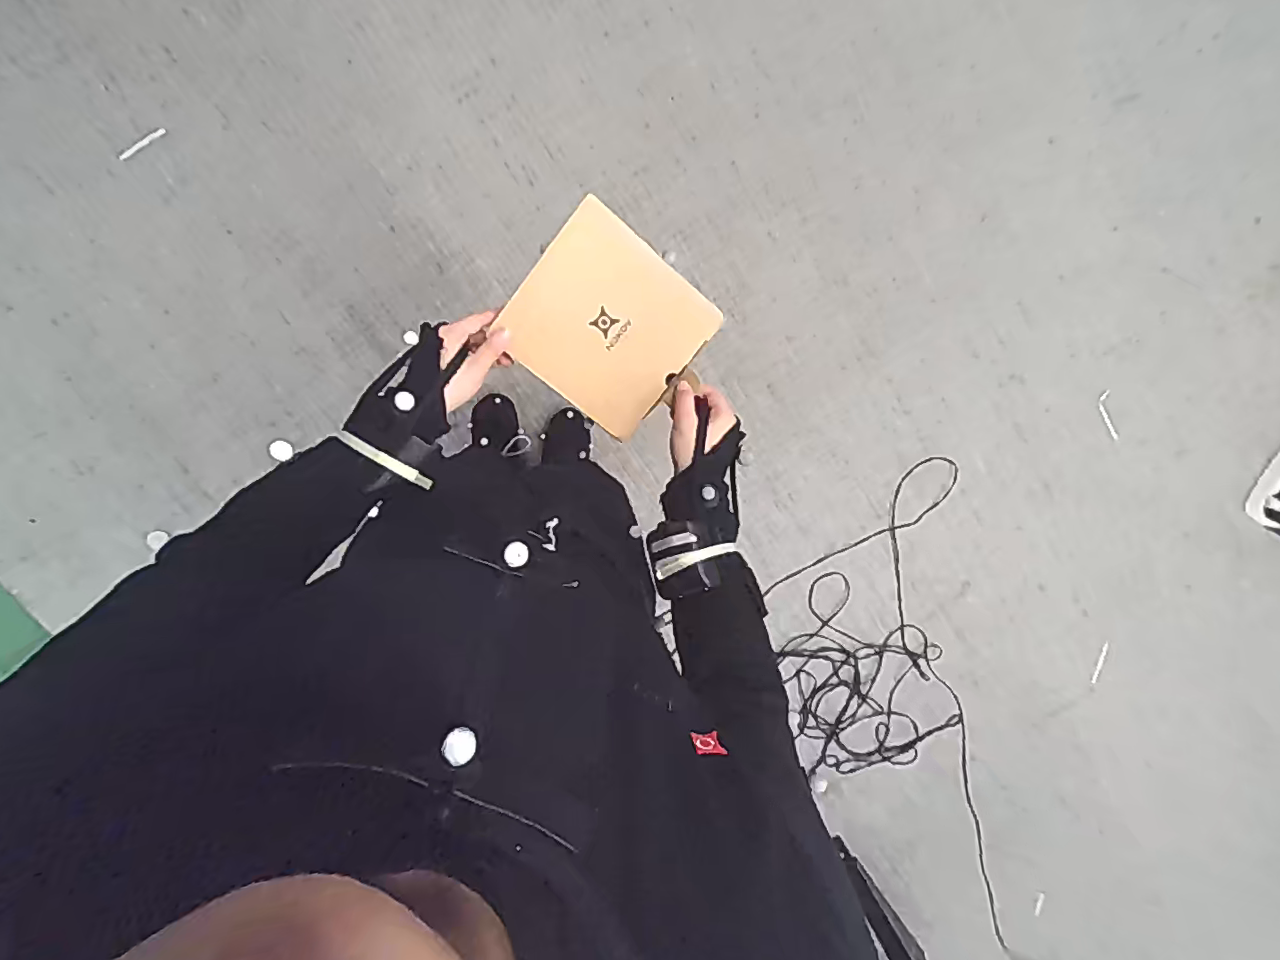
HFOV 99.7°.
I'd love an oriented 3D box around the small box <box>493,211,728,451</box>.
[{"bbox_3d":[-0.037,-0.159,0.607,0.179,0.176,0.168,37,98,-15],"label":"small box"}]
